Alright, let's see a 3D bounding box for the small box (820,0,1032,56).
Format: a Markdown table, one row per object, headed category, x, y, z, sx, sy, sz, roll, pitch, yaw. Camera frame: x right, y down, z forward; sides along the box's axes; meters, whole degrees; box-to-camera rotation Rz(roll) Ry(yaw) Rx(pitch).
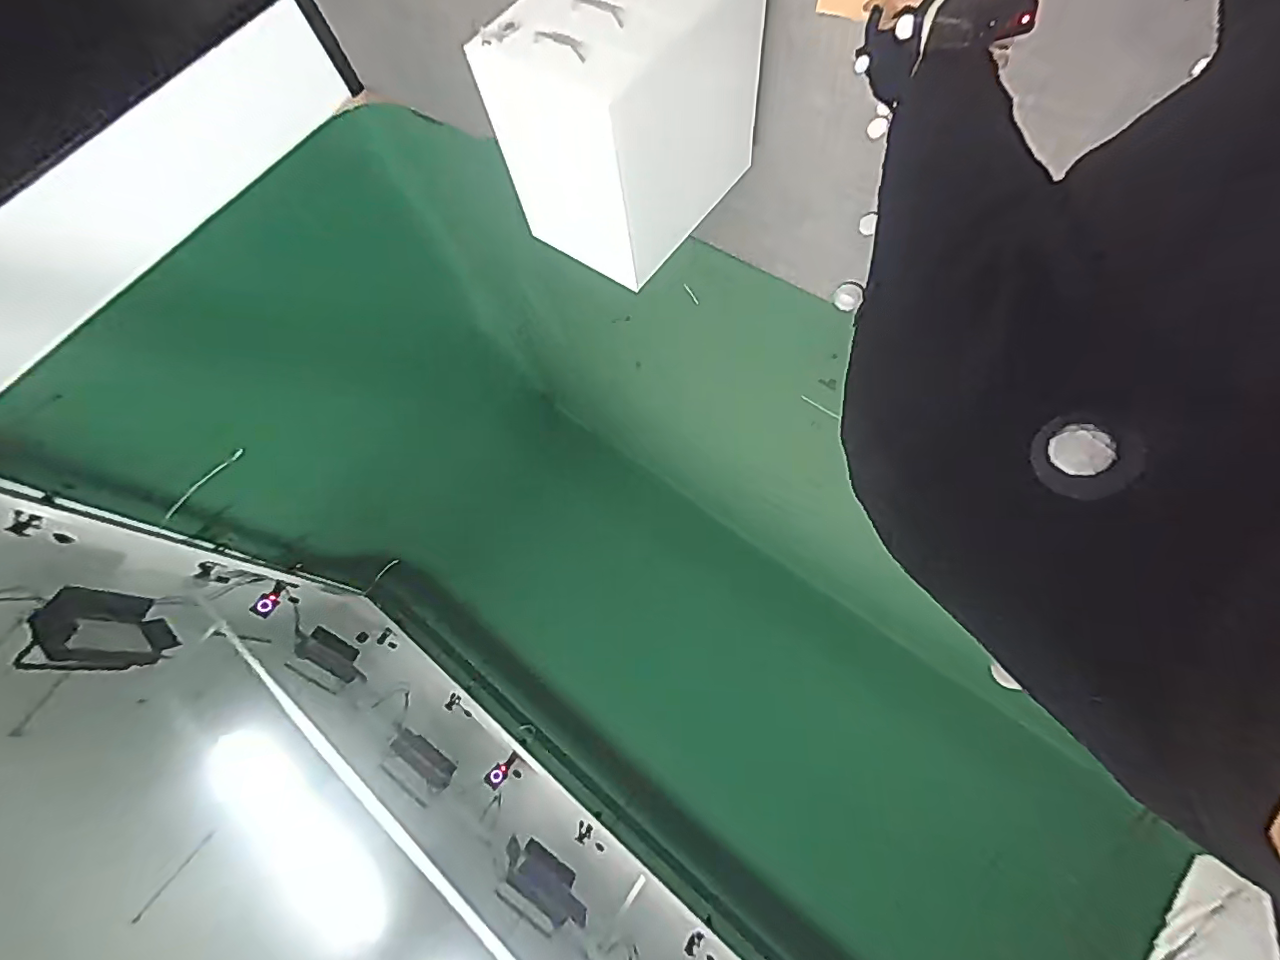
| category | x | y | z | sx | sy | sz | roll | pitch | yaw |
| --- | --- | --- | --- | --- | --- | --- | --- | --- | --- |
| small box | 0.305 | -0.527 | 0.511 | 0.168 | 0.179 | 0.176 | 32 | 136 | 21 |
